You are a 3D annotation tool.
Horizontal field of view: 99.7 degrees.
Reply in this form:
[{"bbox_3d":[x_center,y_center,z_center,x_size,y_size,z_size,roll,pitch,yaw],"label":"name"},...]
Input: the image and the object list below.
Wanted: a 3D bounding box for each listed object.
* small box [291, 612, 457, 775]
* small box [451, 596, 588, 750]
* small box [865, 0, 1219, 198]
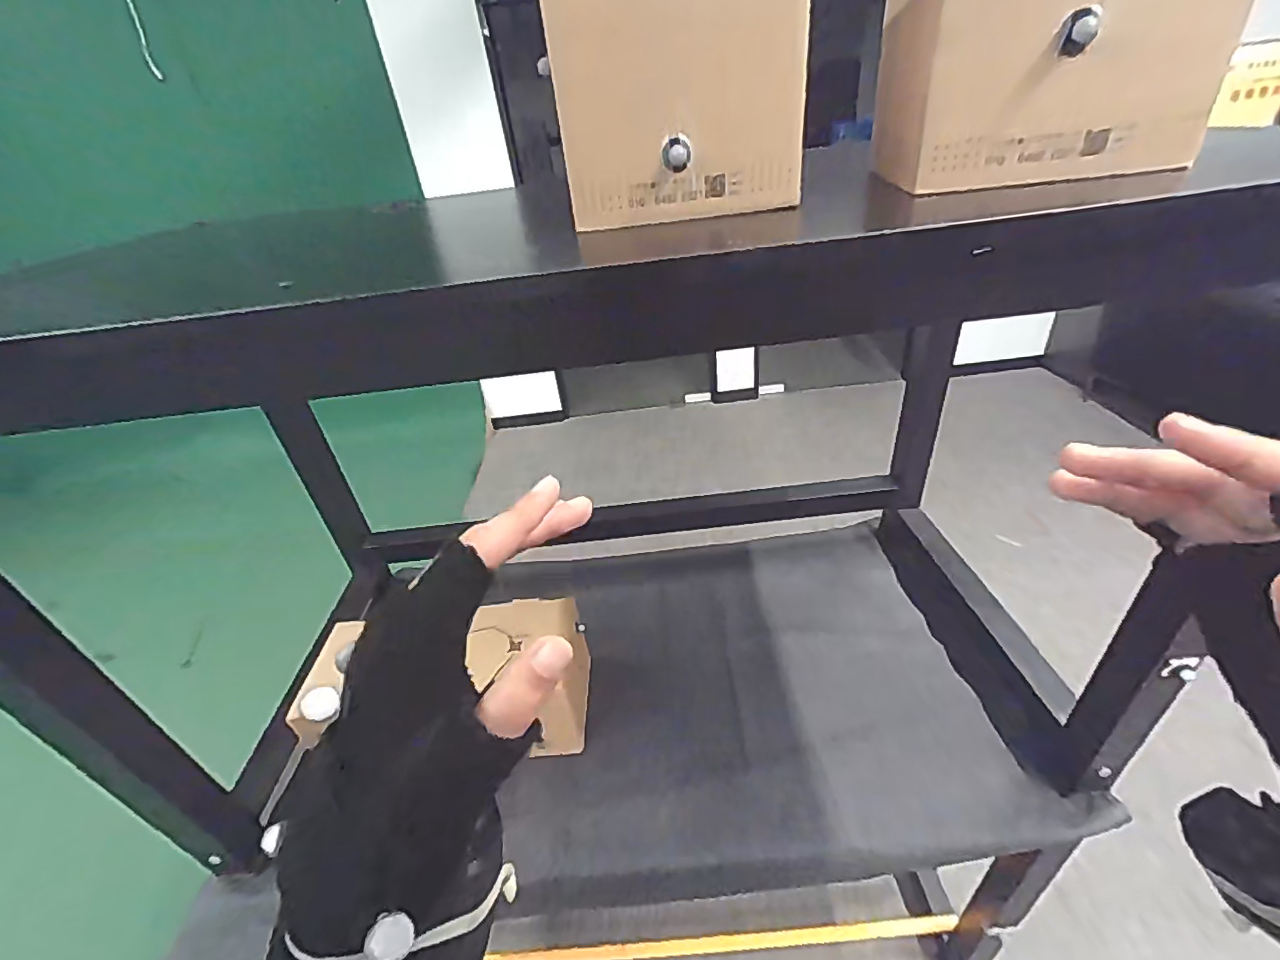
[{"bbox_3d":[-0.406,0.340,0.870,0.168,0.176,0.179,-6,34,2],"label":"small box"},{"bbox_3d":[-0.180,0.314,0.872,0.168,0.176,0.179,-5,33,2],"label":"small box"},{"bbox_3d":[0.272,-0.311,0.395,0.168,0.176,0.179,0,34,11],"label":"small box"}]
